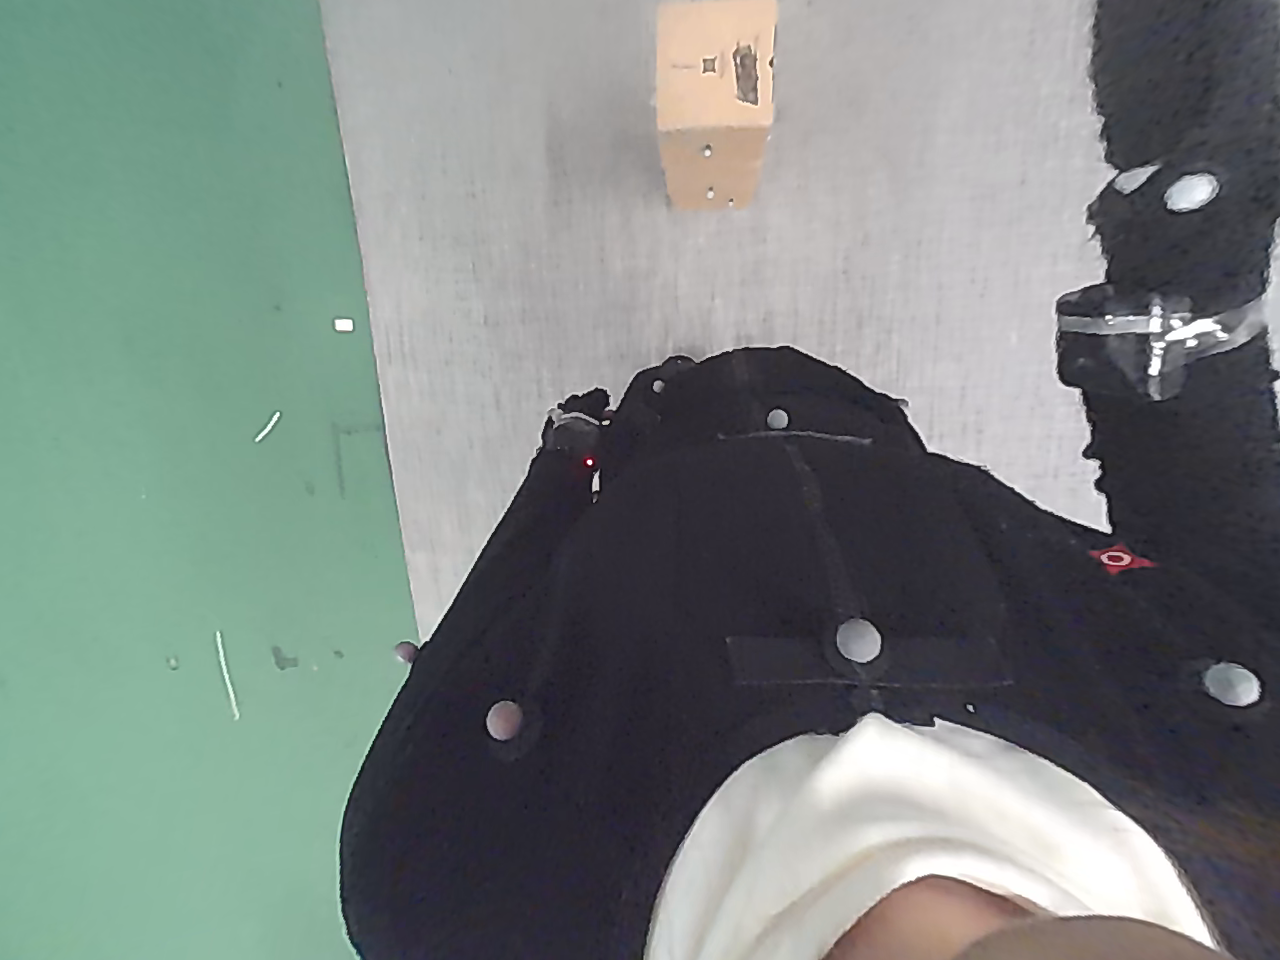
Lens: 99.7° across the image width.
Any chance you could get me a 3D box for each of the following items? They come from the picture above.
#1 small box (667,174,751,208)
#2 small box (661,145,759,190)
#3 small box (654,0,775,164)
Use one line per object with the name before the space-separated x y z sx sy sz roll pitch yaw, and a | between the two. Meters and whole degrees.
small box | 0.148 -0.712 1.190 0.179 0.176 0.168 -1 103 7
small box | 0.133 -0.668 1.033 0.179 0.176 0.168 3 104 4
small box | 0.114 -0.631 0.873 0.179 0.176 0.168 -2 103 4
